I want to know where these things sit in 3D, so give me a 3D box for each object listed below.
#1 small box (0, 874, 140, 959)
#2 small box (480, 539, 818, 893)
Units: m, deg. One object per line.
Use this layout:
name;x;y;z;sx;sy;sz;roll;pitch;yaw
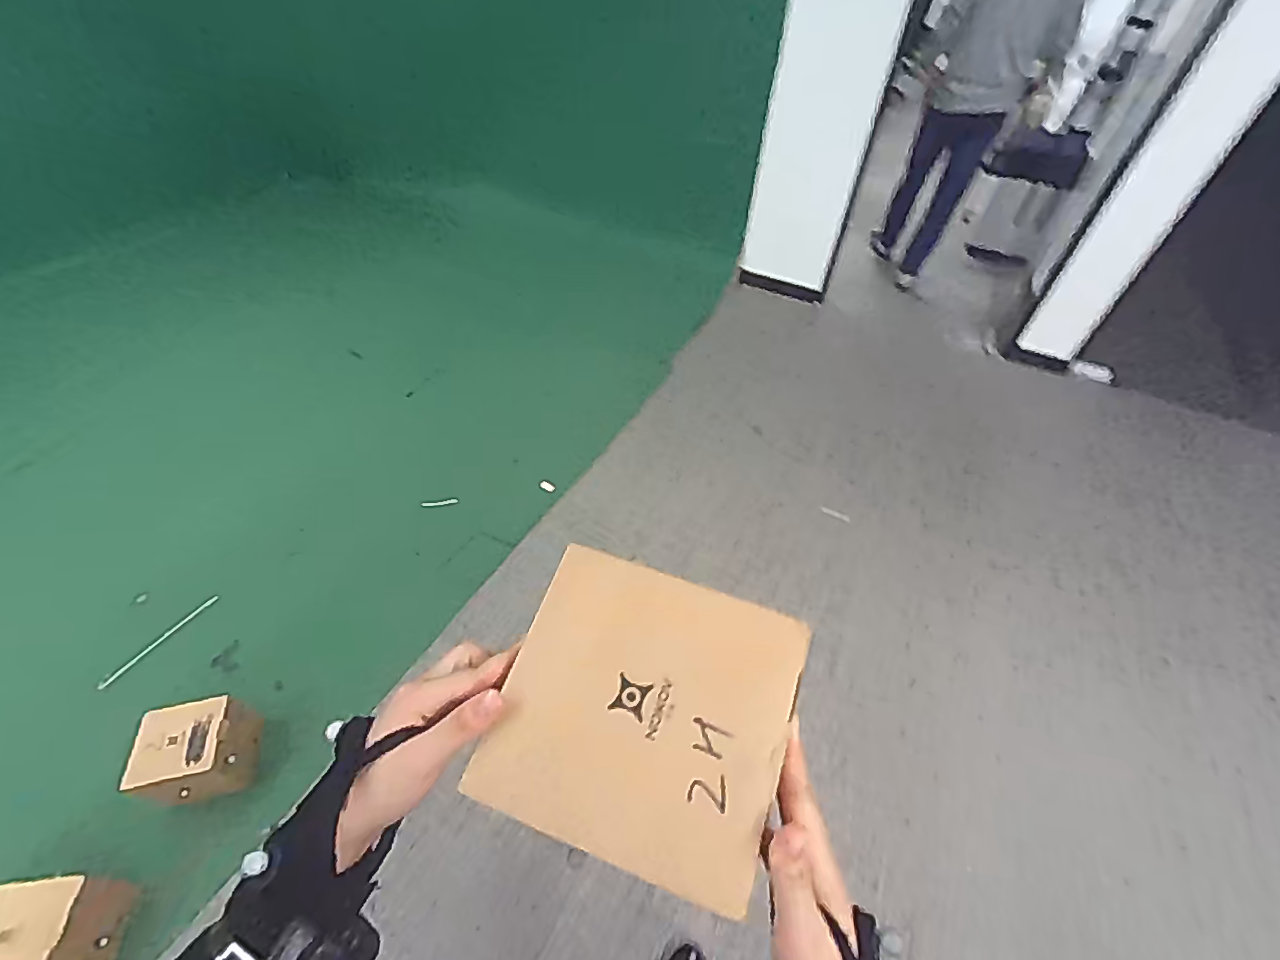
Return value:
small box;-1.124;0.867;1.021;0.179;0.176;0.168;-3;47;-7
small box;0.014;0.171;0.412;0.179;0.176;0.168;17;65;11
